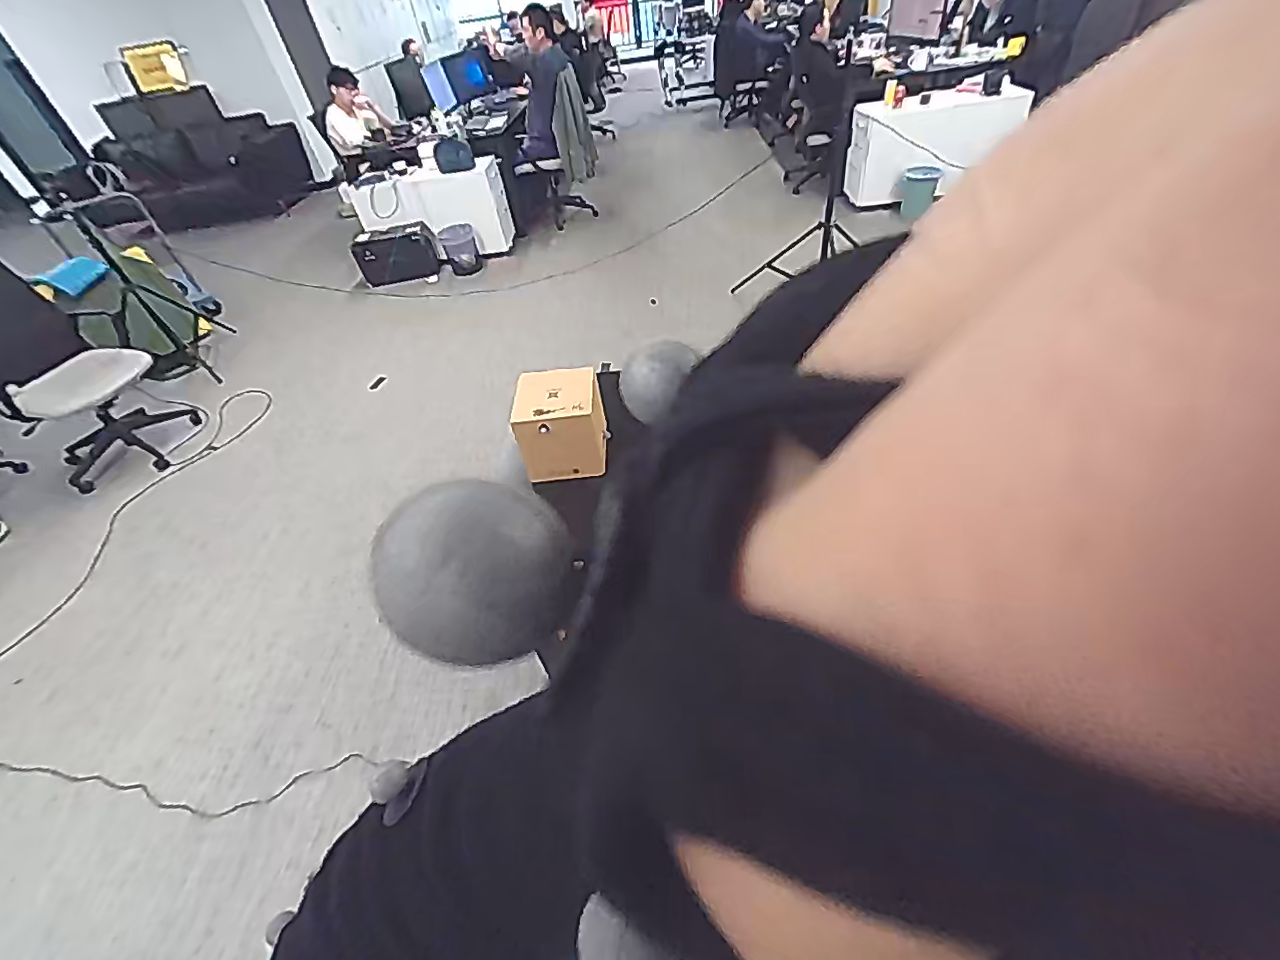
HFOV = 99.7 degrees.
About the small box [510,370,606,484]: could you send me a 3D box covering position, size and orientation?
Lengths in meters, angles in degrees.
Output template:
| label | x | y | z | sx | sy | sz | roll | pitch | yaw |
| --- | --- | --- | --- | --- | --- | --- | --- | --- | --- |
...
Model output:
| label | x | y | z | sx | sy | sz | roll | pitch | yaw |
| --- | --- | --- | --- | --- | --- | --- | --- | --- | --- |
| small box | -0.167 | -0.114 | 1.168 | 0.168 | 0.176 | 0.179 | -6 | 43 | 3 |
